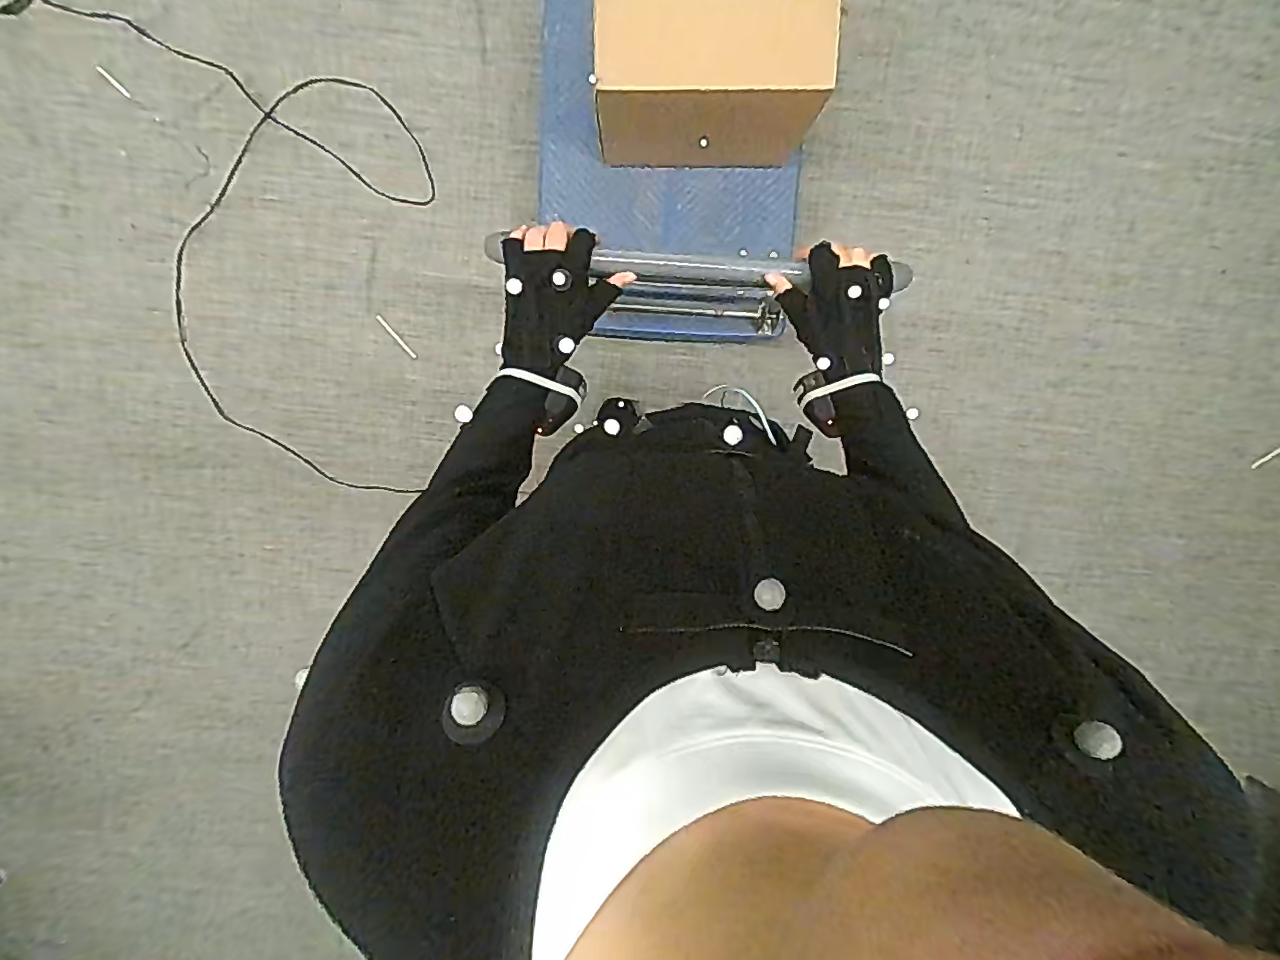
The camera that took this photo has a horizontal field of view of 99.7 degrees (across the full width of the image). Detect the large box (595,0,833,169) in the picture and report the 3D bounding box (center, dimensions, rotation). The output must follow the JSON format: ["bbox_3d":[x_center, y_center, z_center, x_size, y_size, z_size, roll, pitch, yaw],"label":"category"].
[{"bbox_3d":[0.126,-0.829,1.044,0.408,0.320,0.320,-1,98,1],"label":"large box"}]
